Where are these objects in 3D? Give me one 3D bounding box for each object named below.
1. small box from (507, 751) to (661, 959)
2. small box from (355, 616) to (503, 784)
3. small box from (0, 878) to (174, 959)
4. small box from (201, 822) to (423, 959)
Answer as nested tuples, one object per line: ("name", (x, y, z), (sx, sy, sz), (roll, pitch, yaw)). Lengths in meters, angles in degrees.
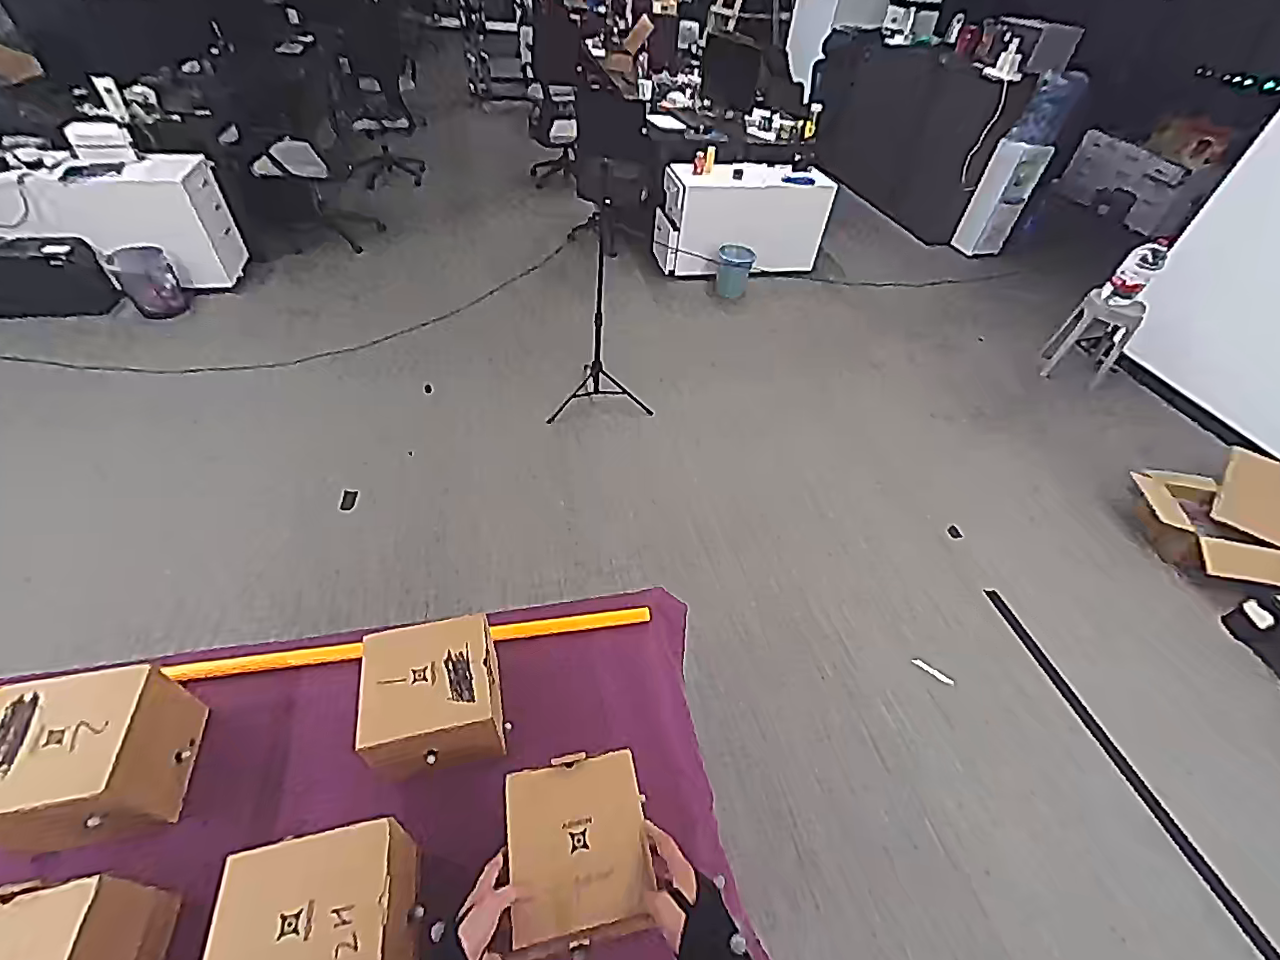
("small box", (-0.076, 0.481, 0.691), (0.168, 0.176, 0.179), (-7, 45, -10))
("small box", (-0.305, 0.332, 0.816), (0.179, 0.176, 0.168), (-9, 48, -12))
("small box", (-0.643, 0.554, 0.566), (0.168, 0.176, 0.179), (-6, 46, -11))
("small box", (-0.363, 0.526, 0.620), (0.179, 0.176, 0.168), (-7, 46, -12))
